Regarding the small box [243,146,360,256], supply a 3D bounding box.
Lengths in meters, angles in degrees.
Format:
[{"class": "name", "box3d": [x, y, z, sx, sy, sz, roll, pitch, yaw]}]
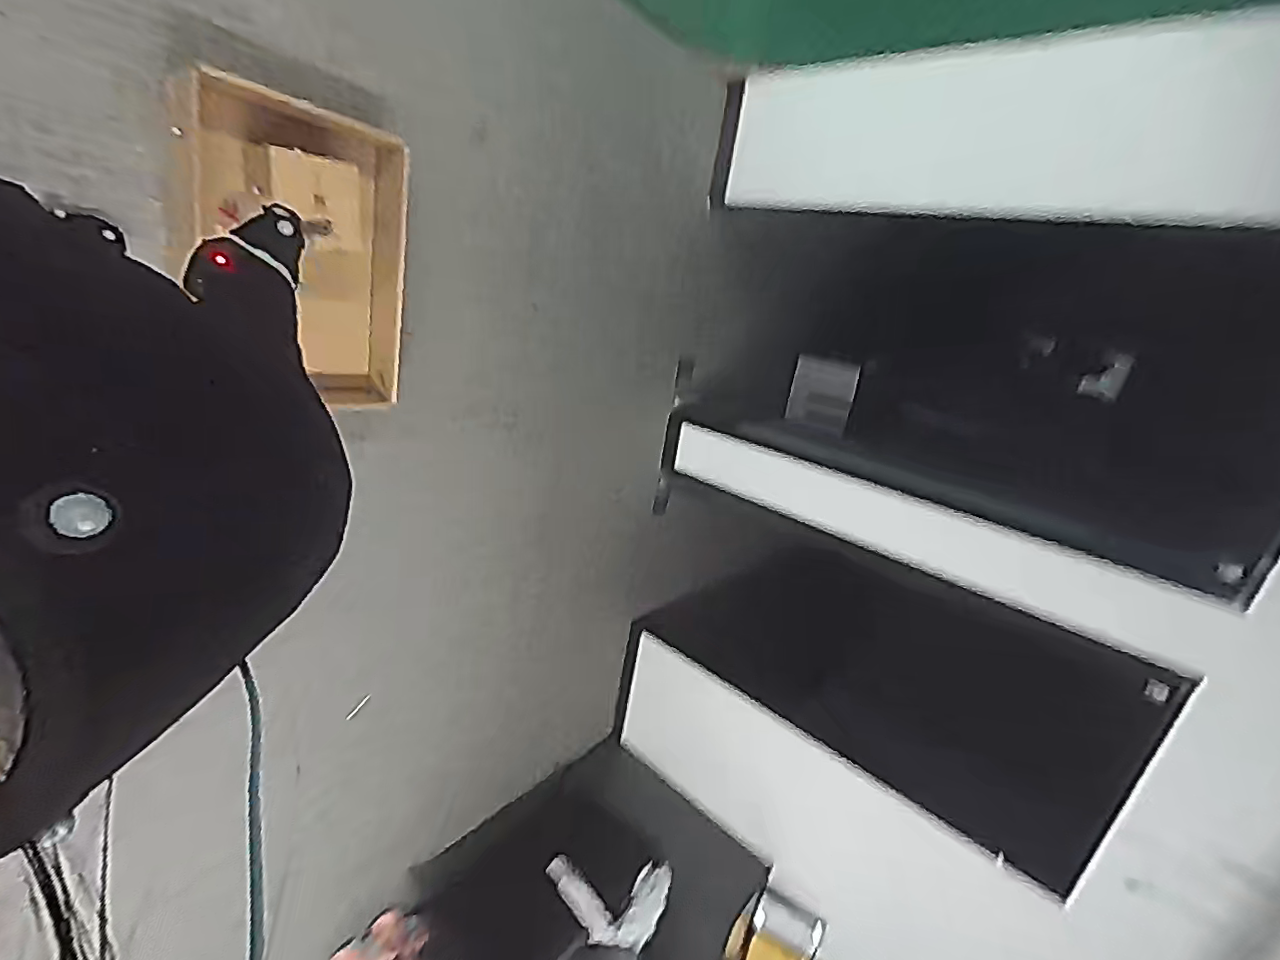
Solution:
[{"class": "small box", "box3d": [-0.718, -0.583, 1.149, 0.168, 0.176, 0.179, -14, 117, -47]}]
